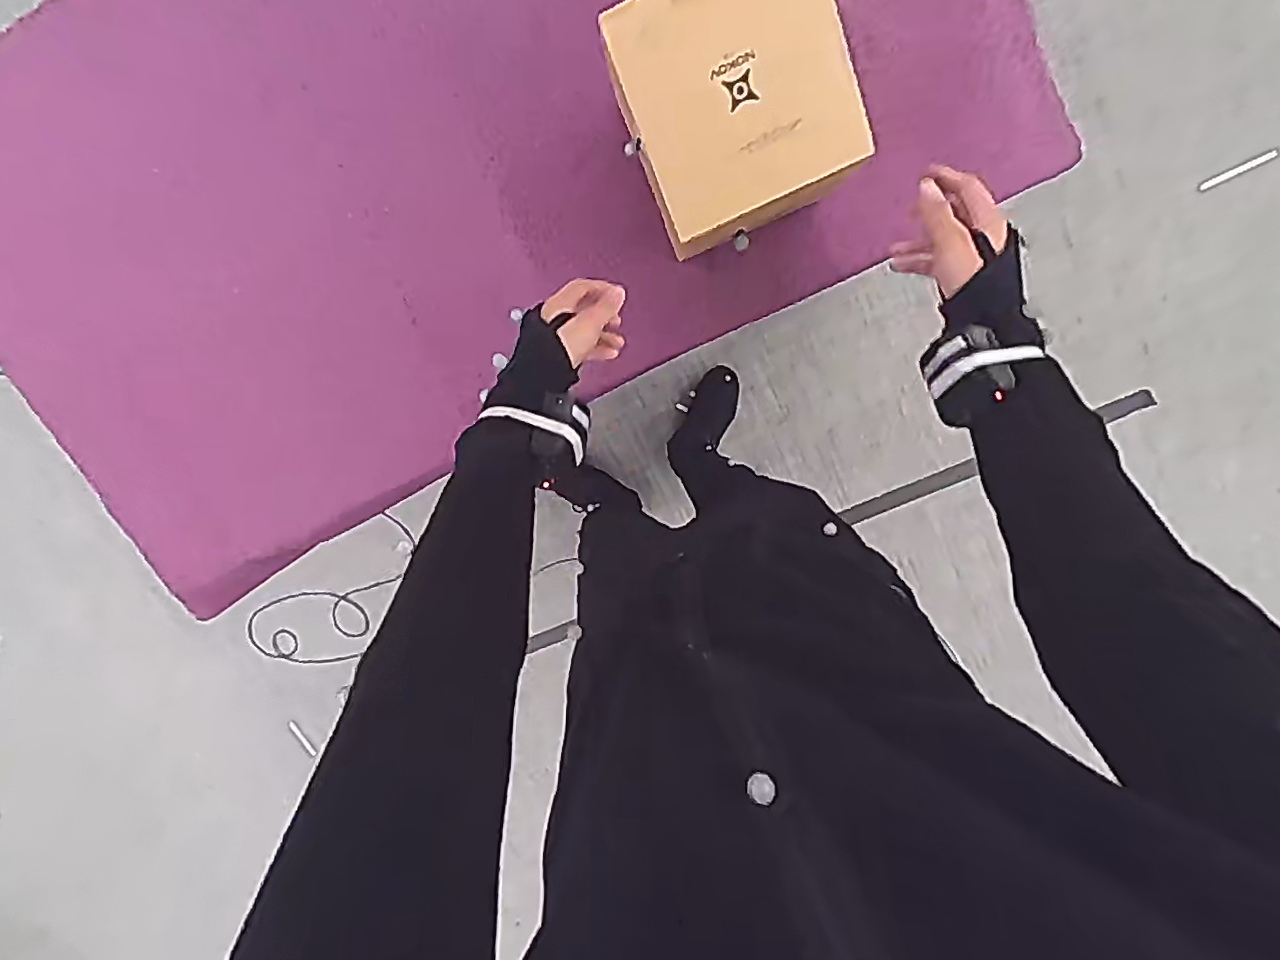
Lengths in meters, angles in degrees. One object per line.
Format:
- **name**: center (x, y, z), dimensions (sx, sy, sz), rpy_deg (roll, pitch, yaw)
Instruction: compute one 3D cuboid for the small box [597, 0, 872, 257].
- **small box**: center (0.076, -0.323, 0.483), dimensions (0.168, 0.176, 0.179), rpy_deg (-21, 104, 10)
